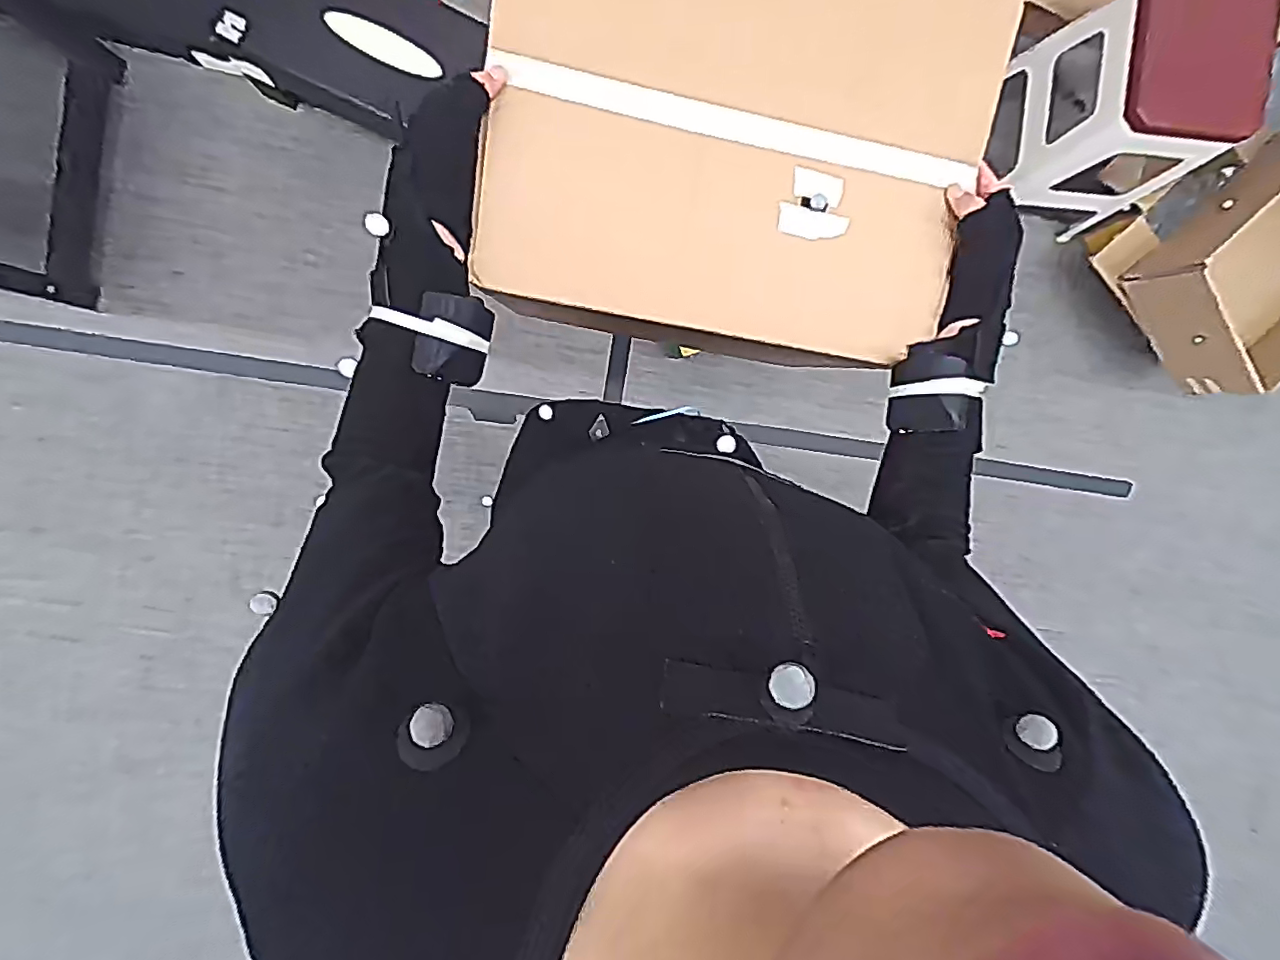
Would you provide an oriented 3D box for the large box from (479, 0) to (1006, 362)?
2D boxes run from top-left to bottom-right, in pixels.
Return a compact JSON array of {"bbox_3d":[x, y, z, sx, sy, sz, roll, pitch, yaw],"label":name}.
[{"bbox_3d":[0.065,-0.316,0.587,0.408,0.320,0.320,9,103,-9],"label":"large box"}]
